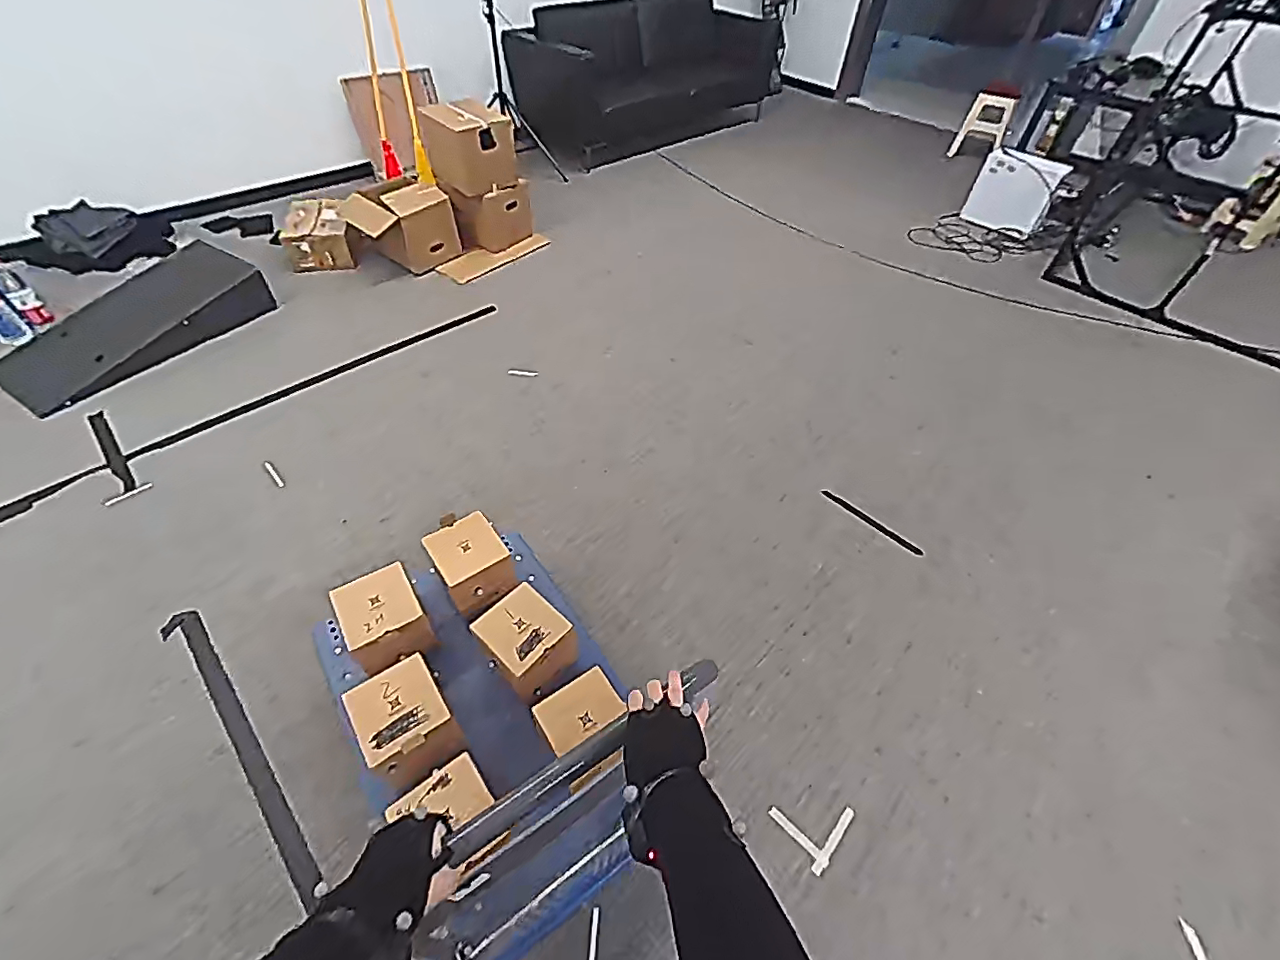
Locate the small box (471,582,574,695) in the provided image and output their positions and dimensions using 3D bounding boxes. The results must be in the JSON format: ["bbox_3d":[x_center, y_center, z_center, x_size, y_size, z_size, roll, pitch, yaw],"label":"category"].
[{"bbox_3d":[-0.272,0.386,1.292,0.179,0.176,0.168,34,54,25],"label":"small box"}]

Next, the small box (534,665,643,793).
[{"bbox_3d":[-0.110,0.543,1.167,0.168,0.176,0.179,-26,55,-25],"label":"small box"}]

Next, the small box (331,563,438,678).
[{"bbox_3d":[-0.611,0.339,1.303,0.168,0.176,0.179,-25,56,-24],"label":"small box"}]

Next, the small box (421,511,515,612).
[{"bbox_3d":[-0.446,0.223,1.423,0.168,0.176,0.179,-29,57,-27],"label":"small box"}]

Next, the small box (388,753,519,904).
[{"bbox_3d":[-0.347,0.668,1.035,0.168,0.176,0.179,-30,57,-28],"label":"small box"}]
